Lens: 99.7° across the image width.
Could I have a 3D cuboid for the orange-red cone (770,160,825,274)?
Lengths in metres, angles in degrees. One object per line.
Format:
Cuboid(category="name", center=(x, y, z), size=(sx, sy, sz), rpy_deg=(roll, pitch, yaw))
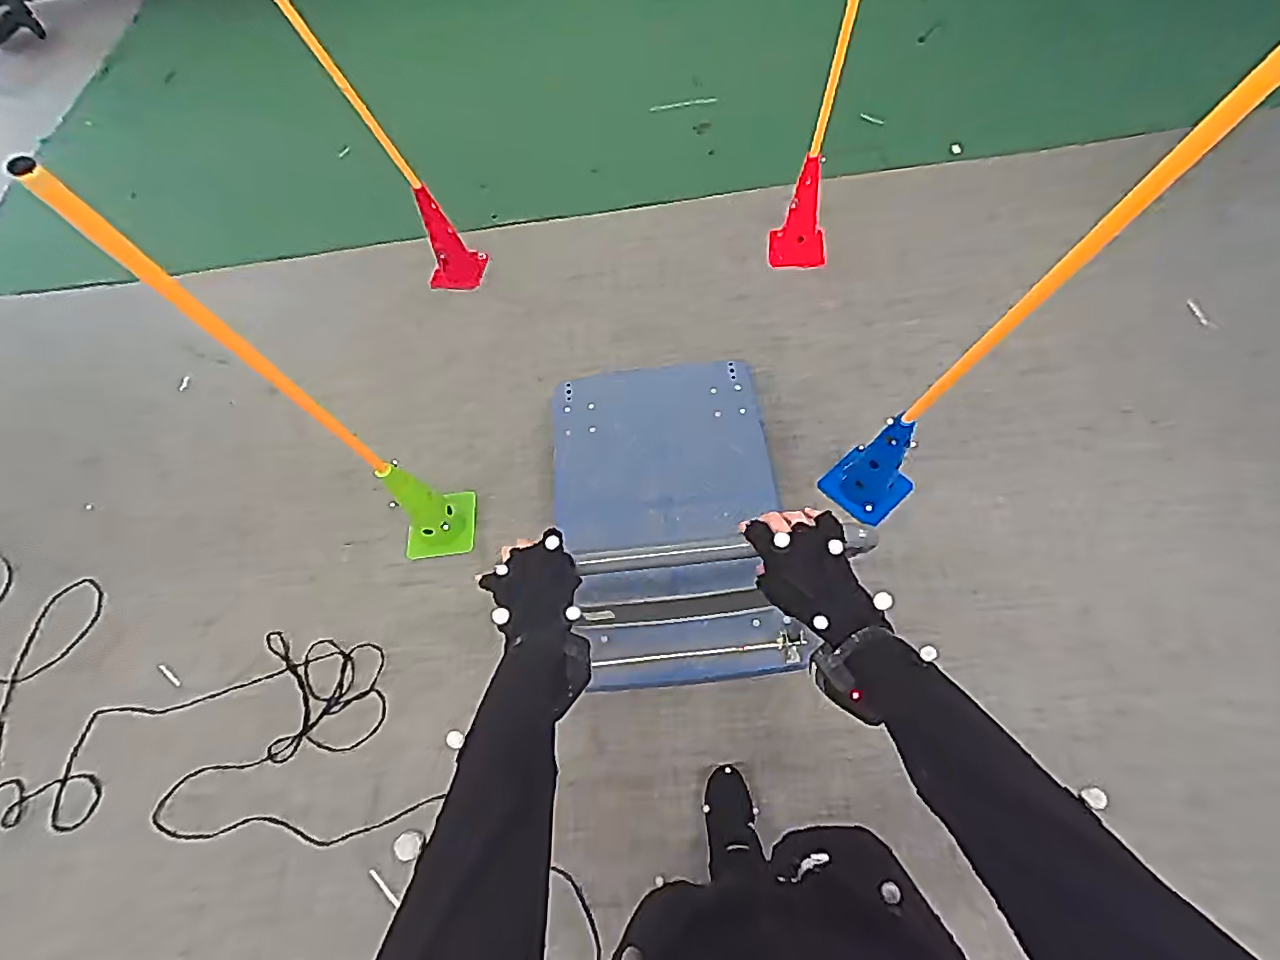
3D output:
Cuboid(category="orange-red cone", center=(0.566, -0.915, 1.857), size=(0.198, 0.360, 0.199), rpy_deg=(3, 64, 9))
